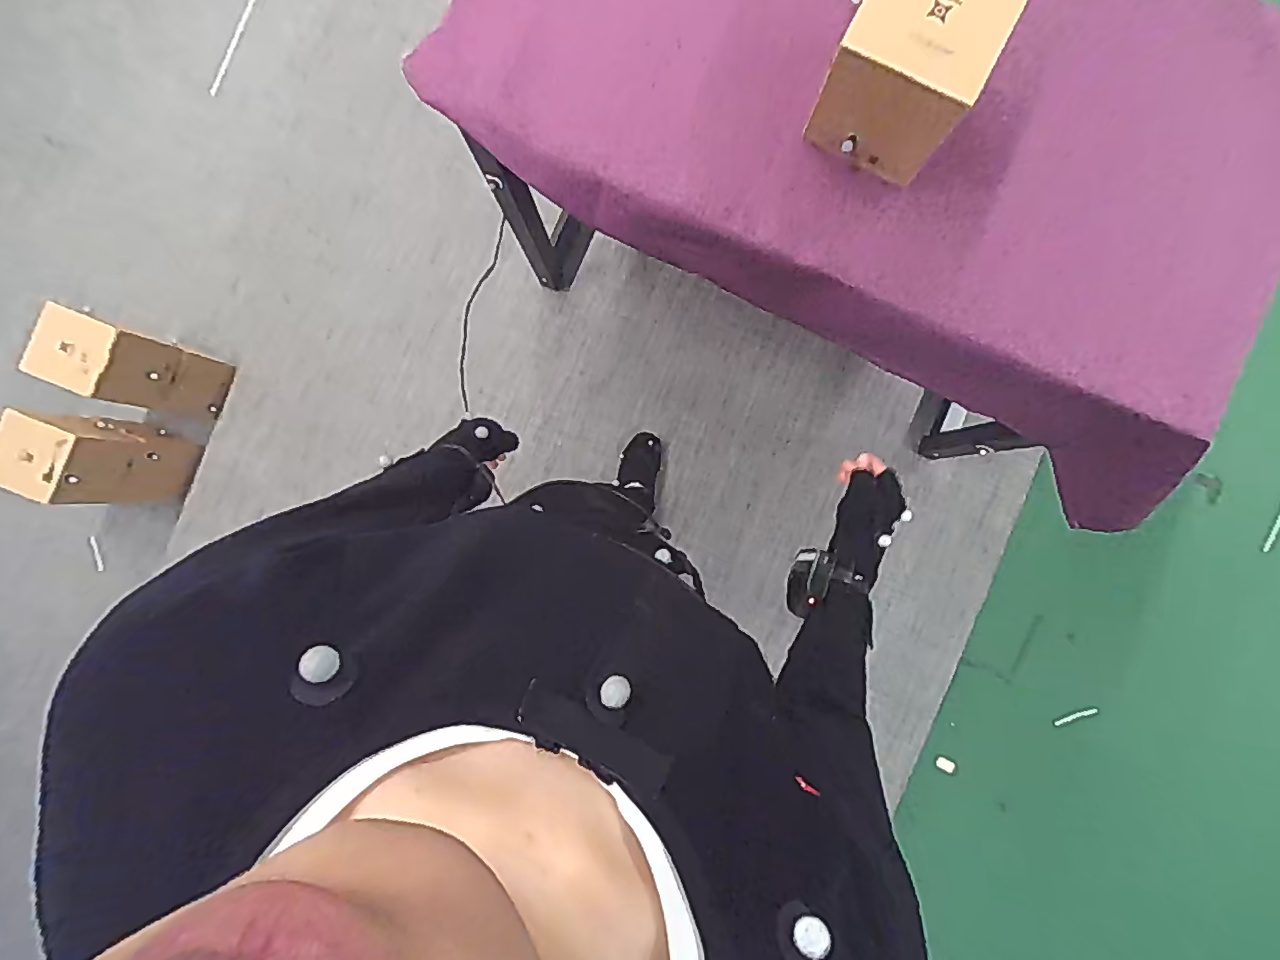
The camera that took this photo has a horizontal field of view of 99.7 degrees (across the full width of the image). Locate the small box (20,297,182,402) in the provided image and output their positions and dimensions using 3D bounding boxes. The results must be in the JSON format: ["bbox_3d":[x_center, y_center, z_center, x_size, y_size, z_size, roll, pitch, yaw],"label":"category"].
[{"bbox_3d":[-1.239,-0.292,1.255,0.179,0.176,0.168,22,89,1],"label":"small box"}]

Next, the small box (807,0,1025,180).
[{"bbox_3d":[0.336,-0.531,0.683,0.168,0.176,0.179,28,90,2],"label":"small box"}]

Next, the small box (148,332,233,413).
[{"bbox_3d":[-1.231,-0.283,1.420,0.179,0.176,0.168,21,89,2],"label":"small box"}]
